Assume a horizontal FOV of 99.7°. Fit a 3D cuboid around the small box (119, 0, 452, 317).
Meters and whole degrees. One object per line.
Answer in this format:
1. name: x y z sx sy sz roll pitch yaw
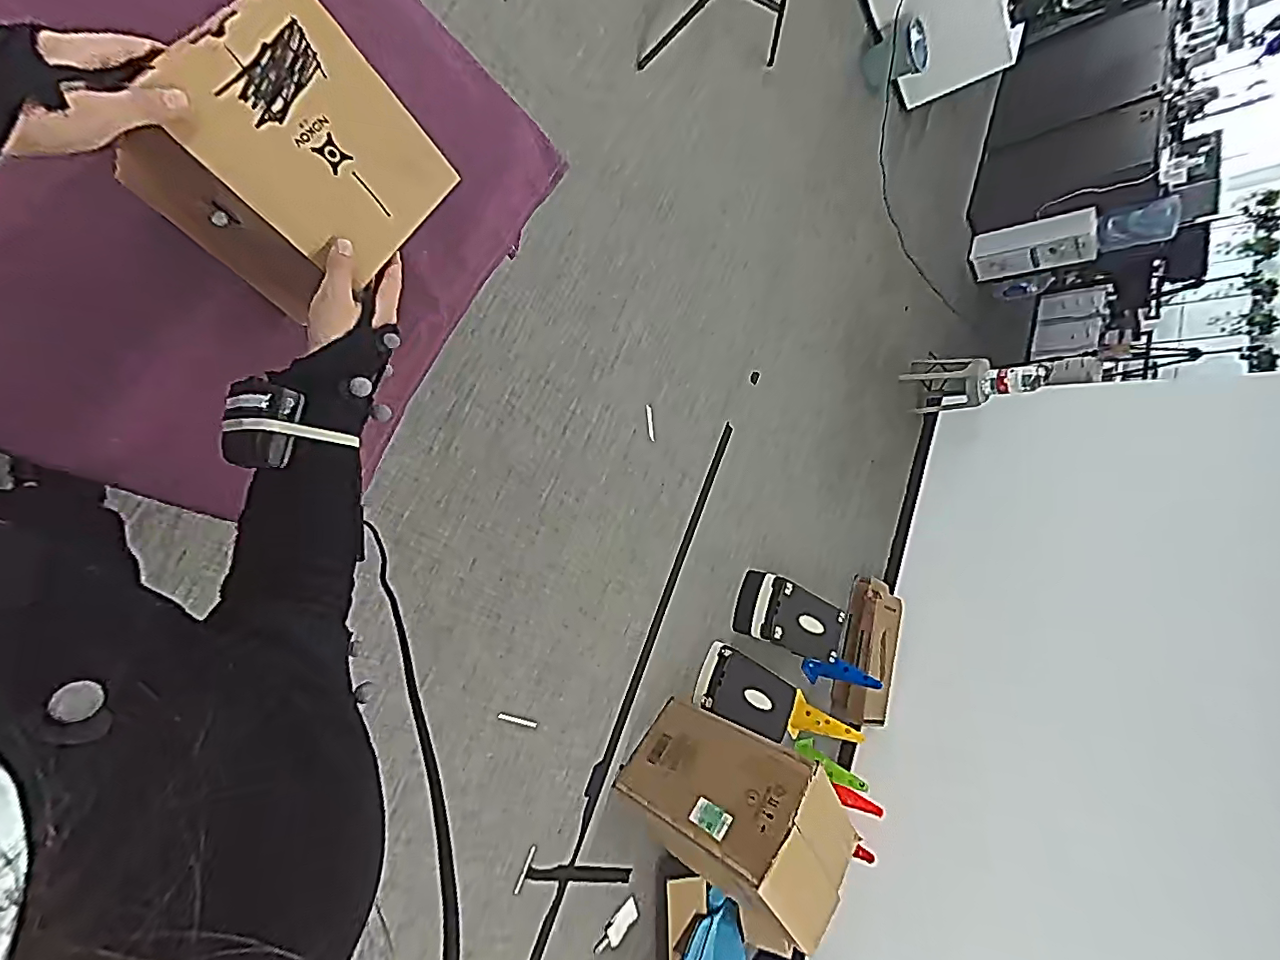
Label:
1. small box: -0.319 -0.272 0.492 0.179 0.176 0.168 46 63 -38
